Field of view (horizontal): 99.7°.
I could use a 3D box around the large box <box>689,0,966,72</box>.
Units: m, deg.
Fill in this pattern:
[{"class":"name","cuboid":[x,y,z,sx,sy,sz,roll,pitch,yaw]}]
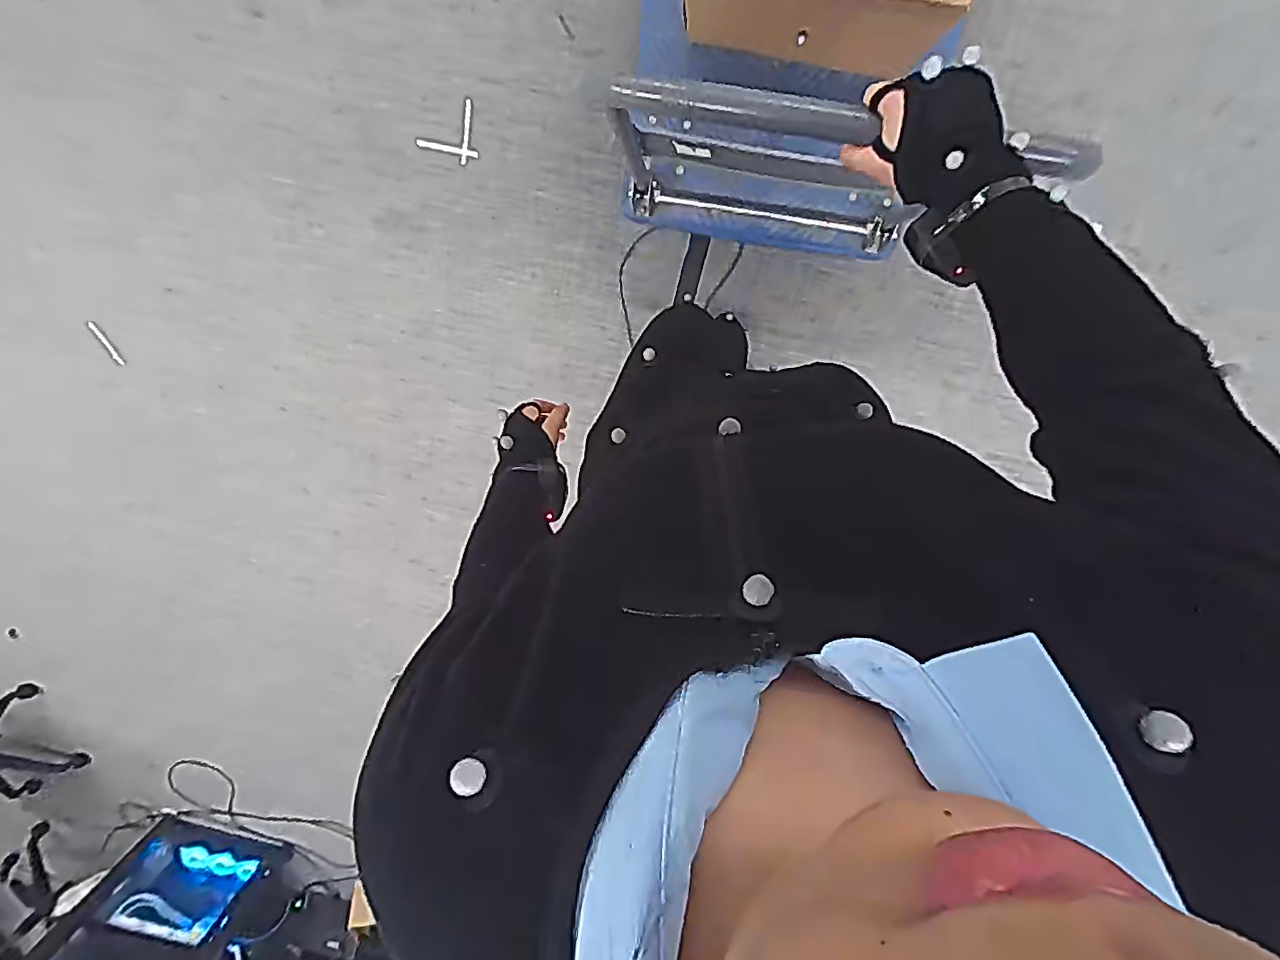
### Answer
[{"class":"large box","cuboid":[0.303,-0.889,0.839,0.408,0.320,0.320,12,111,3]}]
